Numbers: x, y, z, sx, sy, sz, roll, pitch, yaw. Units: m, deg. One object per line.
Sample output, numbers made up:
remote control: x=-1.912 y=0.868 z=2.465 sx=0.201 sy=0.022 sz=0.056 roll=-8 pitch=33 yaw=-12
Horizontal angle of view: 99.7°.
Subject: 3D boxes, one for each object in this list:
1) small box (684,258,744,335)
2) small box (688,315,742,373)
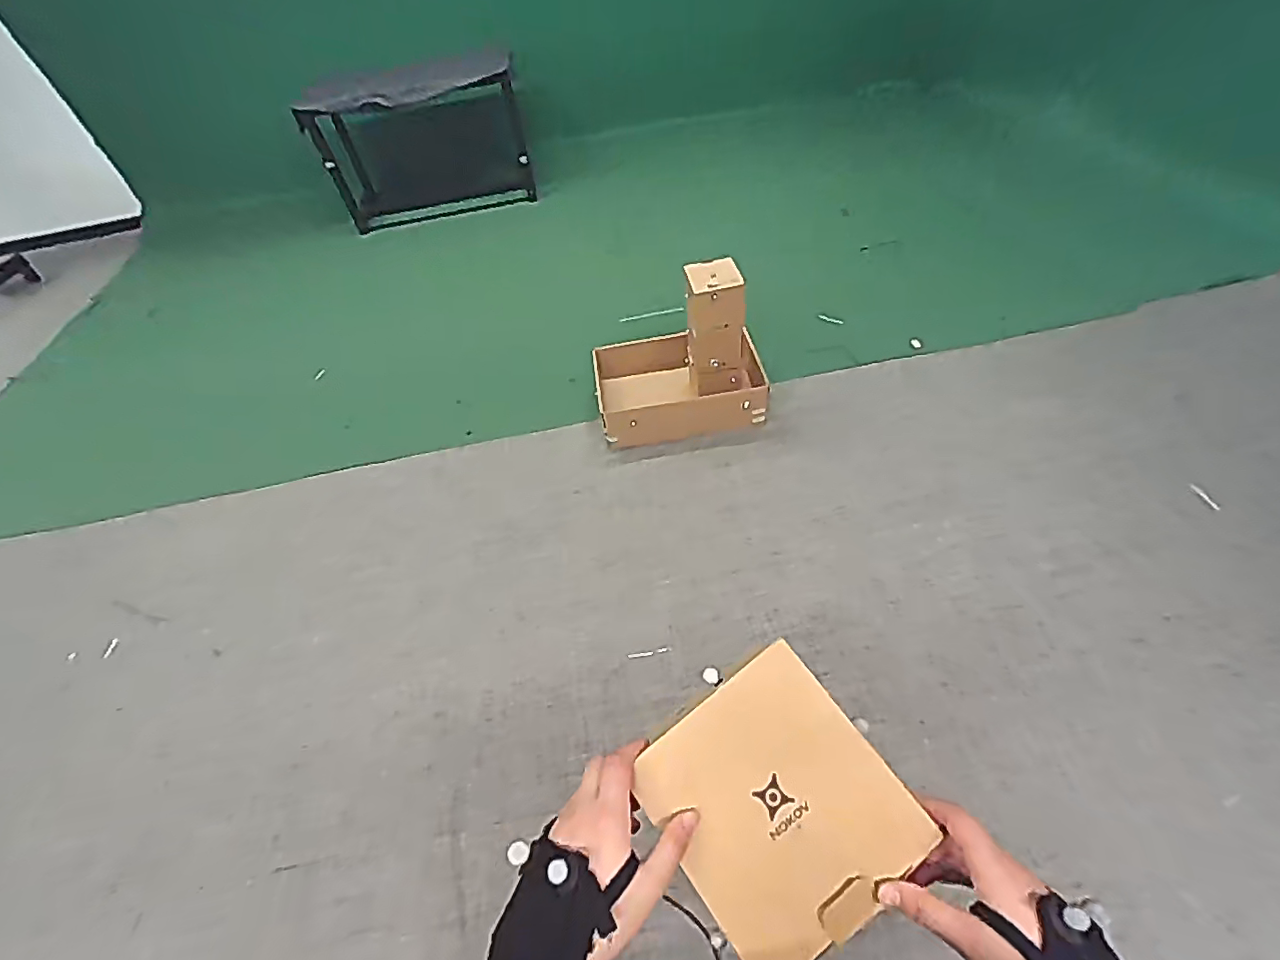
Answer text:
small box: x=0.247 y=-0.615 z=1.818 sx=0.168 sy=0.176 sz=0.179 roll=-11 pitch=49 yaw=0
small box: x=0.266 y=-0.512 z=1.945 sx=0.168 sy=0.176 sz=0.179 roll=-9 pitch=51 yaw=2
